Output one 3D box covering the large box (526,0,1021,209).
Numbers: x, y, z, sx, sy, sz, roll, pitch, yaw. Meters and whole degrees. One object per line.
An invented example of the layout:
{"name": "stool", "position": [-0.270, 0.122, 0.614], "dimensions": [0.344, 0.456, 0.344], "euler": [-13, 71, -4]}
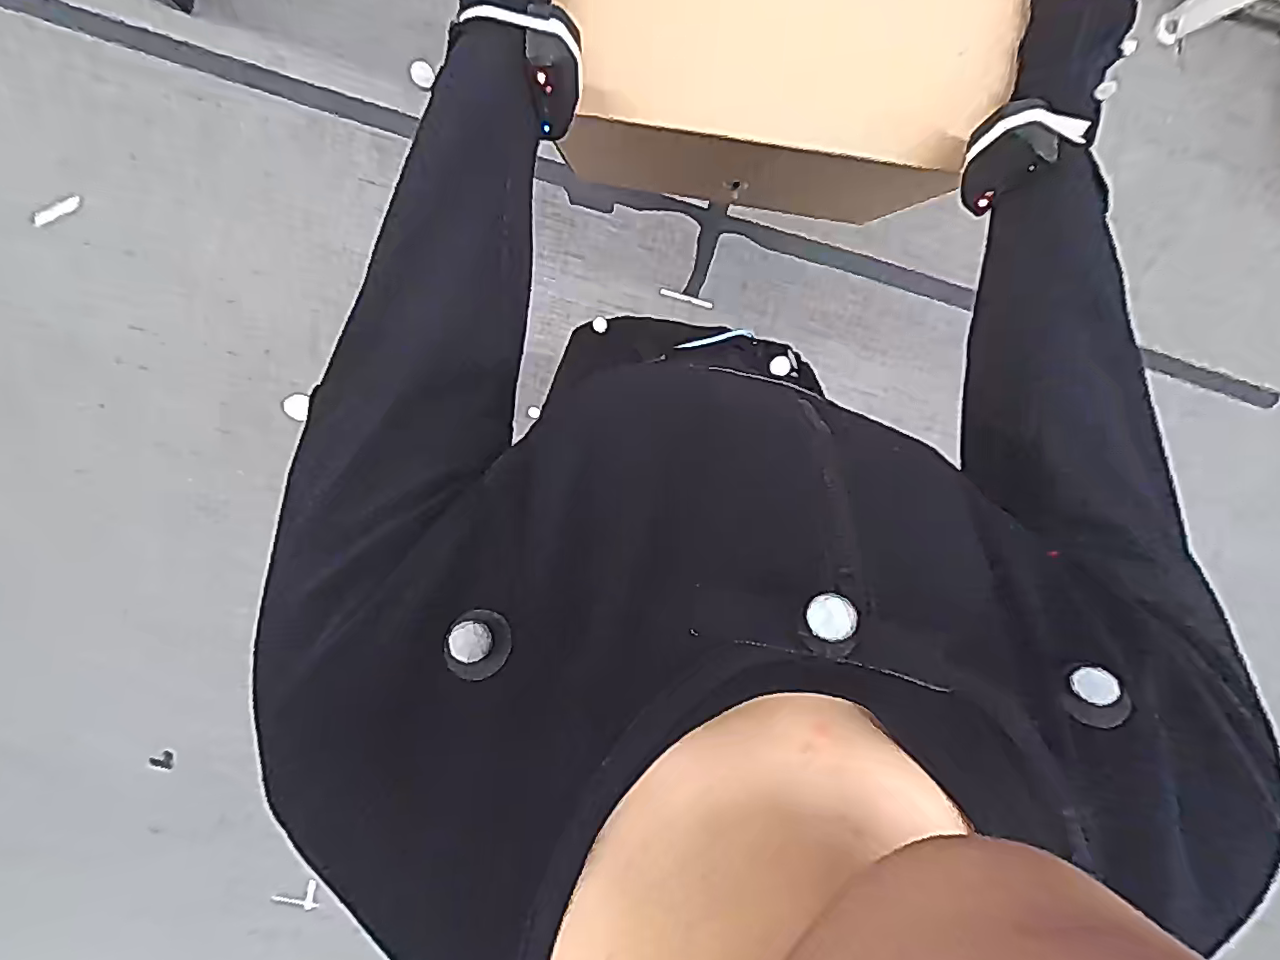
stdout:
{"name": "large box", "position": [0.123, -0.493, 0.563], "dimensions": [0.408, 0.320, 0.320], "euler": [8, 108, -1]}
